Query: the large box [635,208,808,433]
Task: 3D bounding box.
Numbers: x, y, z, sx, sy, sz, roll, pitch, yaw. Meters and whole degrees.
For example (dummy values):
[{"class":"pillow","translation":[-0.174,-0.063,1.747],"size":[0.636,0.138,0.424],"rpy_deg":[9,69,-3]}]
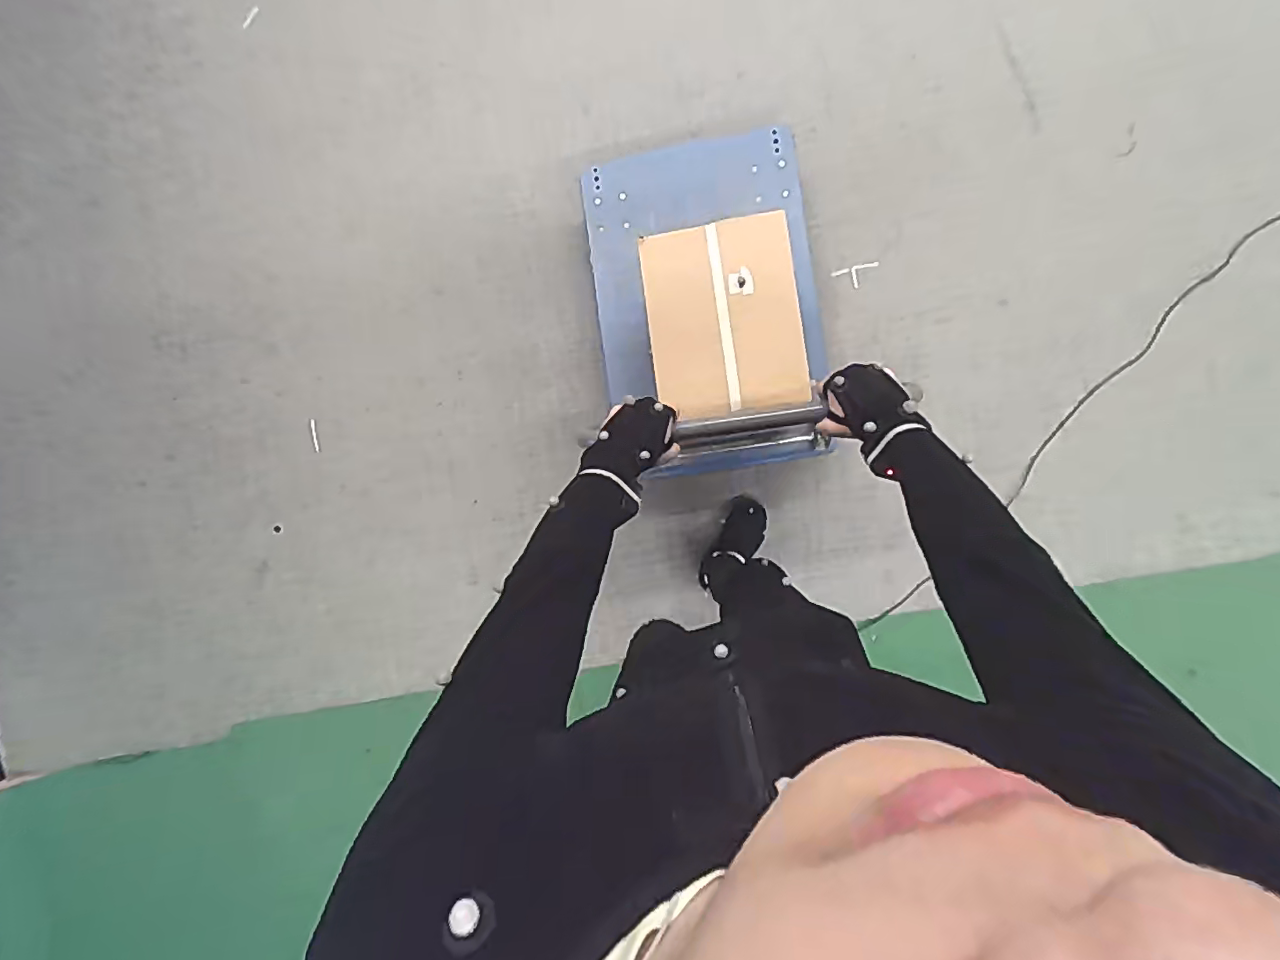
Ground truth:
[{"class":"large box","translation":[0.188,-0.345,1.280],"size":[0.320,0.320,0.408],"rpy_deg":[-8,88,7]}]
